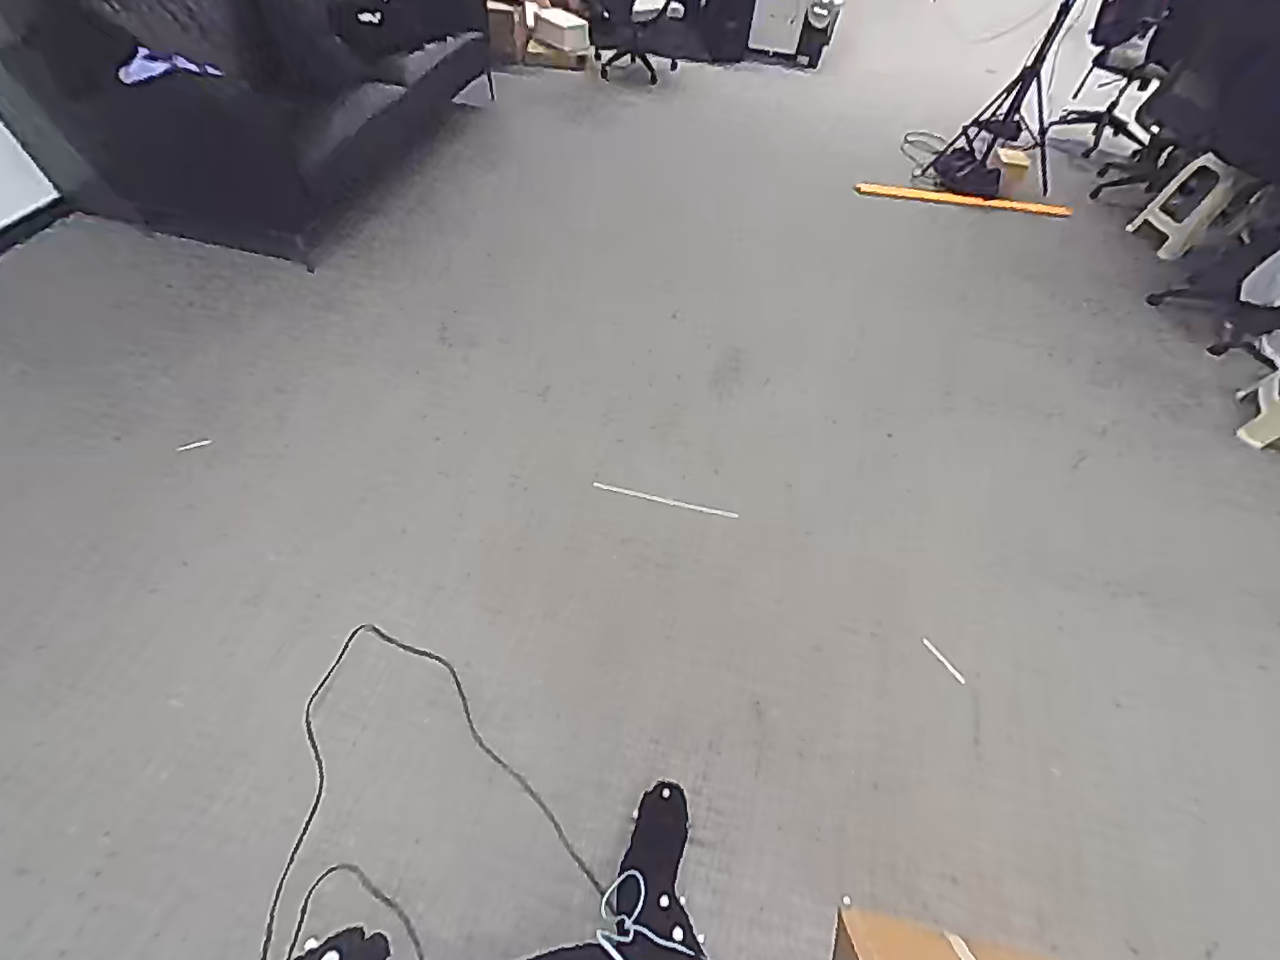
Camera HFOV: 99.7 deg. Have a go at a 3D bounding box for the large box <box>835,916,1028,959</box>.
[{"bbox_3d":[0.401,0.795,0.573,0.320,0.408,0.320,12,85,6],"label":"large box"}]
